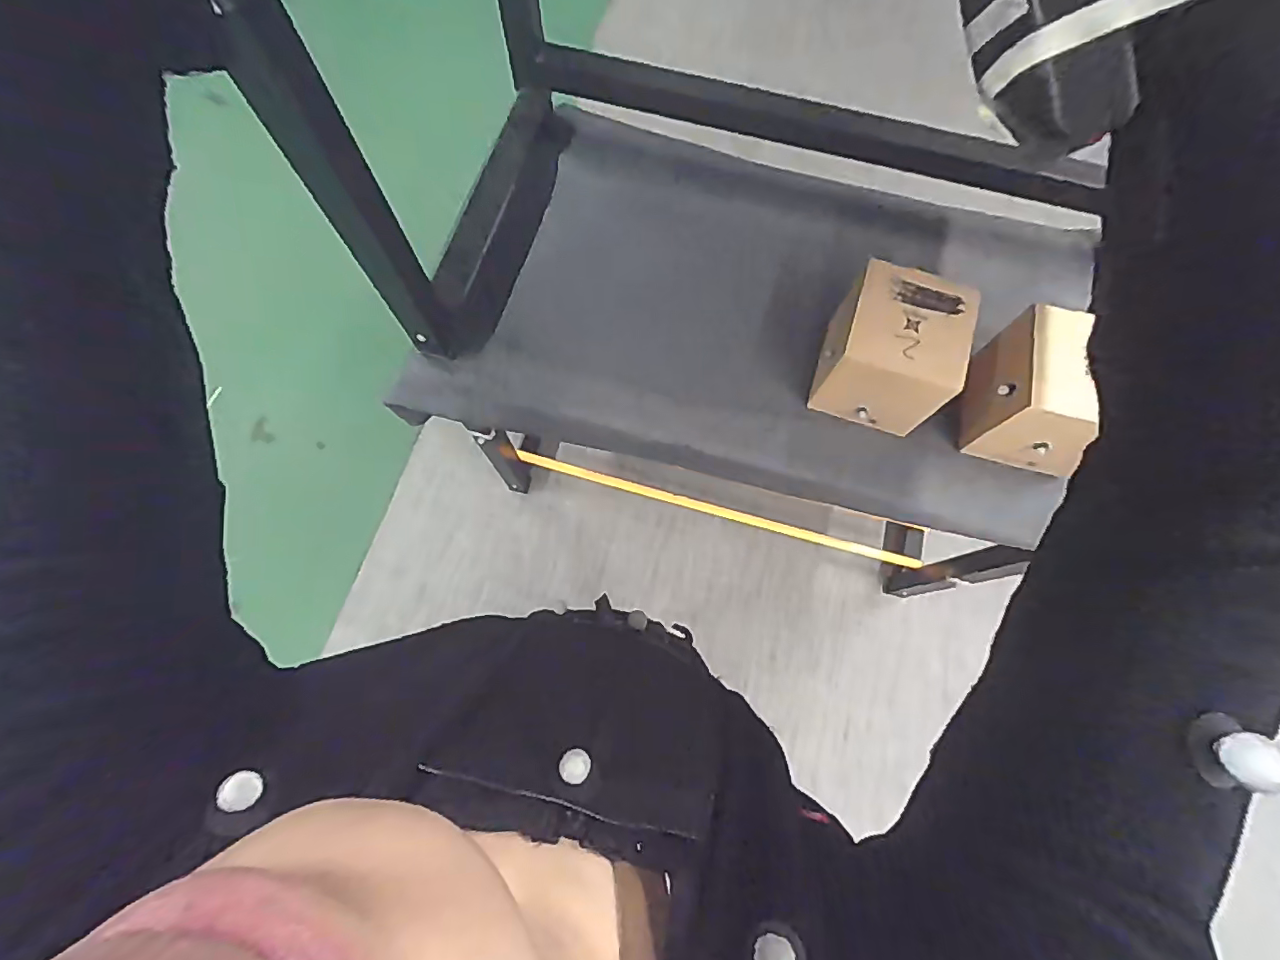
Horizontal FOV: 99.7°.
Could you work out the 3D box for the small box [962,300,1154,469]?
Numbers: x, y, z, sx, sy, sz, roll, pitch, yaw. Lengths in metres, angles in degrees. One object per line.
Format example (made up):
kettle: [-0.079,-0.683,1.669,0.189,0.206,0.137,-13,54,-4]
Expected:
small box: [0.618,-0.134,0.818,0.168,0.176,0.179,15,71,3]
